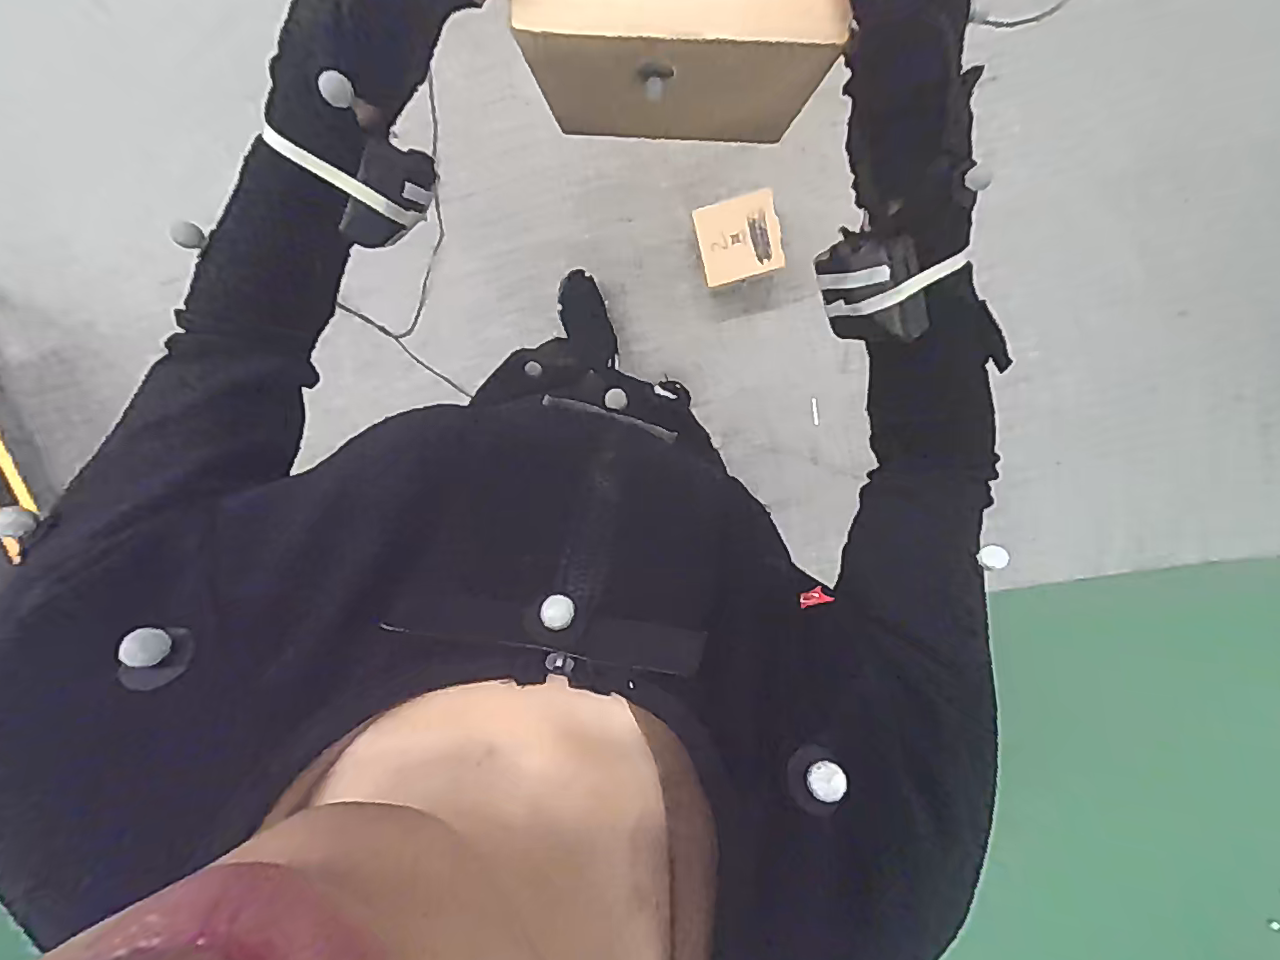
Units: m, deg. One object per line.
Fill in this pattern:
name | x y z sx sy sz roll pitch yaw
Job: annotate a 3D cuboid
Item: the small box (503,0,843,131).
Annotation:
small box | 0.021 -0.335 0.331 0.179 0.176 0.168 2 107 0
